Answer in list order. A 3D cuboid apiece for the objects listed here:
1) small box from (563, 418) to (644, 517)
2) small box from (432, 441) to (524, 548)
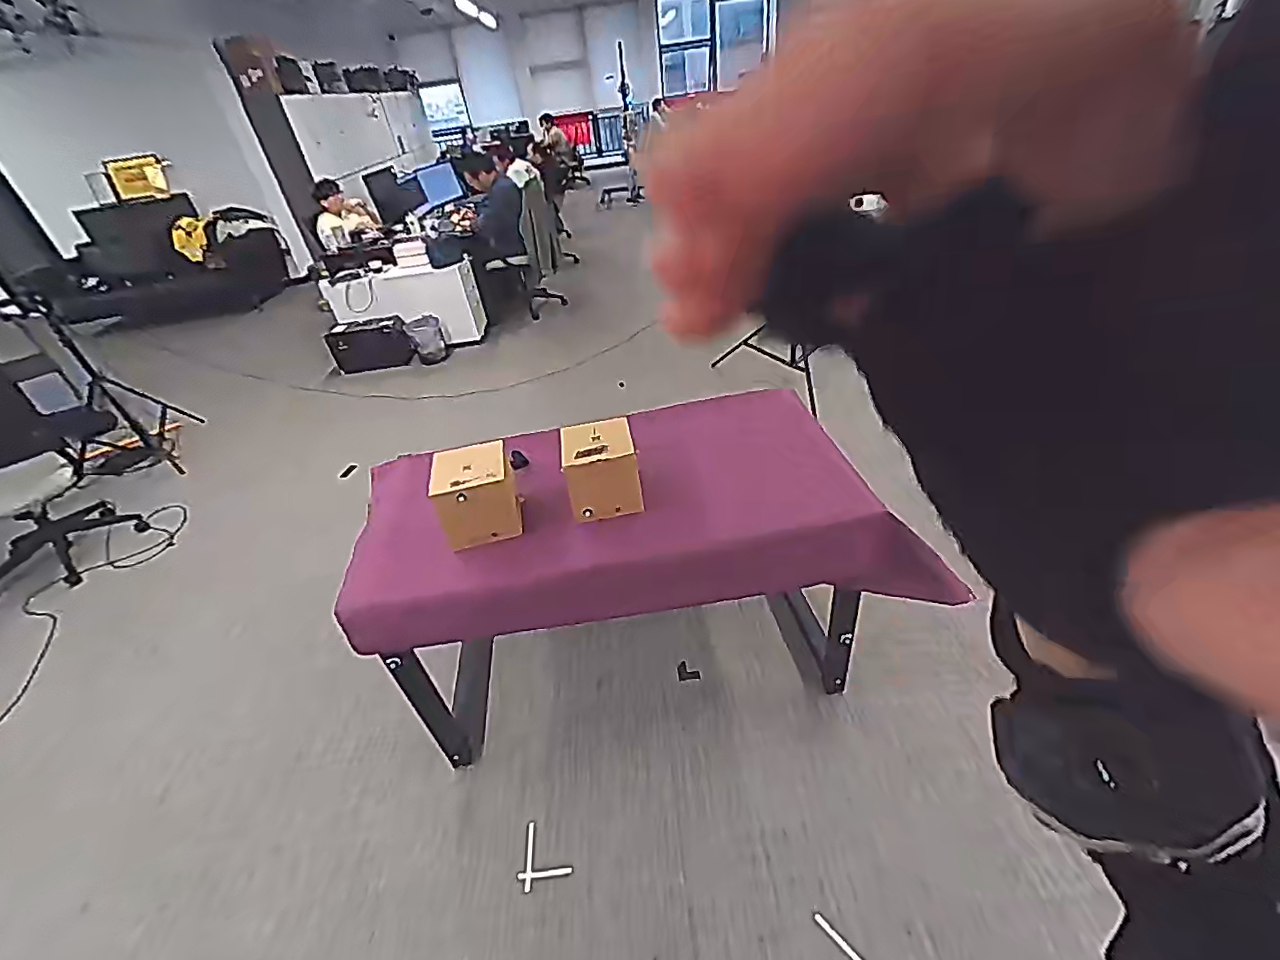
[{"bbox_3d":[-0.088,-0.025,1.304,0.168,0.176,0.179,-10,35,-2],"label":"small box"},{"bbox_3d":[-0.376,0.033,1.281,0.168,0.176,0.179,-13,36,-7],"label":"small box"}]
